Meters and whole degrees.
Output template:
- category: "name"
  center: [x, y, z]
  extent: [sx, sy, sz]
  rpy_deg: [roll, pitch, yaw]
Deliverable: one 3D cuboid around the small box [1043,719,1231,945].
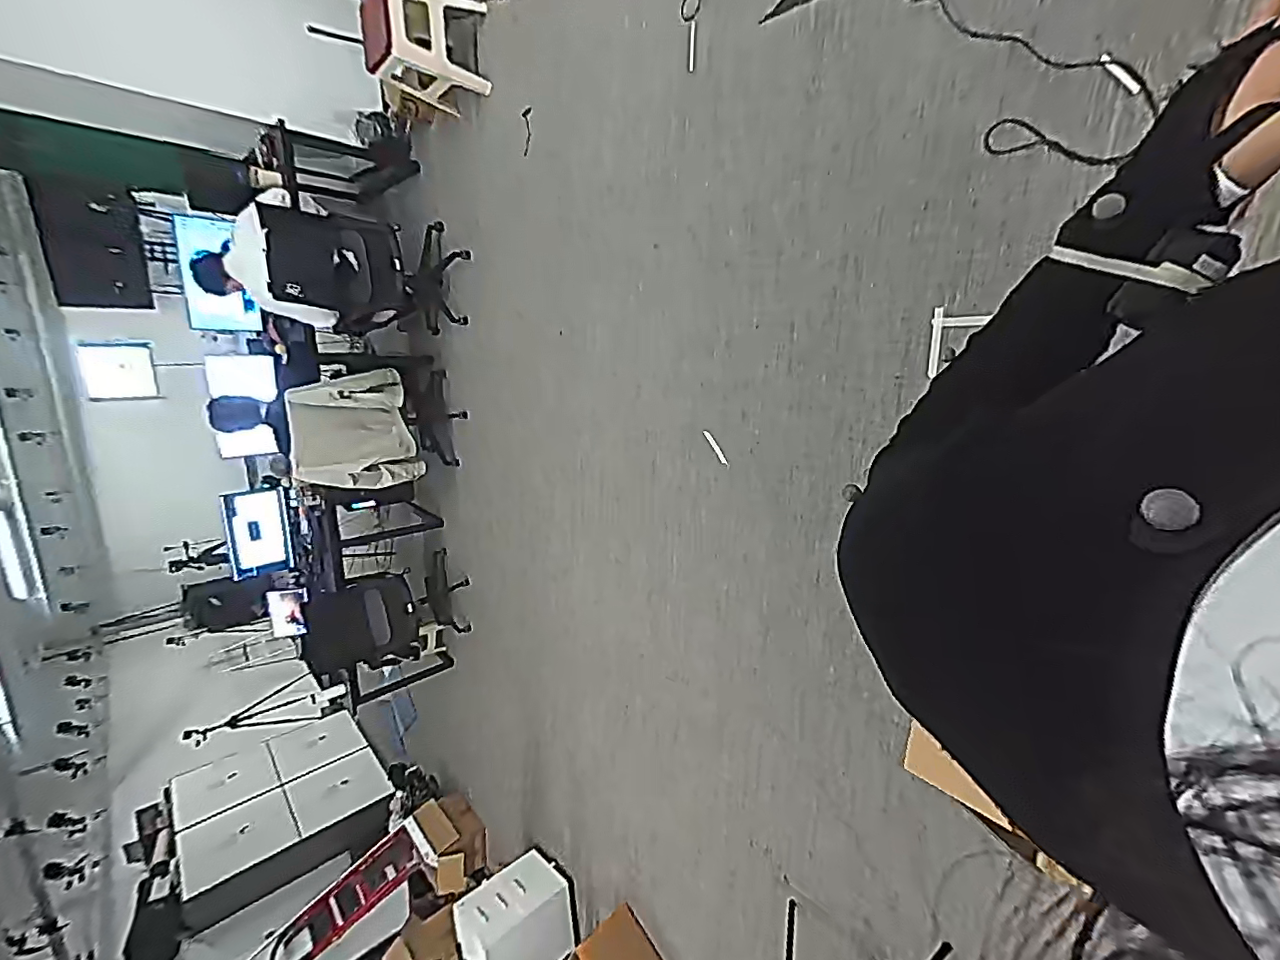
- category: "small box"
  center: [0.713, 0.485, 0.778]
  extent: [0.168, 0.176, 0.179]
  rpy_deg: [14, 106, 45]
